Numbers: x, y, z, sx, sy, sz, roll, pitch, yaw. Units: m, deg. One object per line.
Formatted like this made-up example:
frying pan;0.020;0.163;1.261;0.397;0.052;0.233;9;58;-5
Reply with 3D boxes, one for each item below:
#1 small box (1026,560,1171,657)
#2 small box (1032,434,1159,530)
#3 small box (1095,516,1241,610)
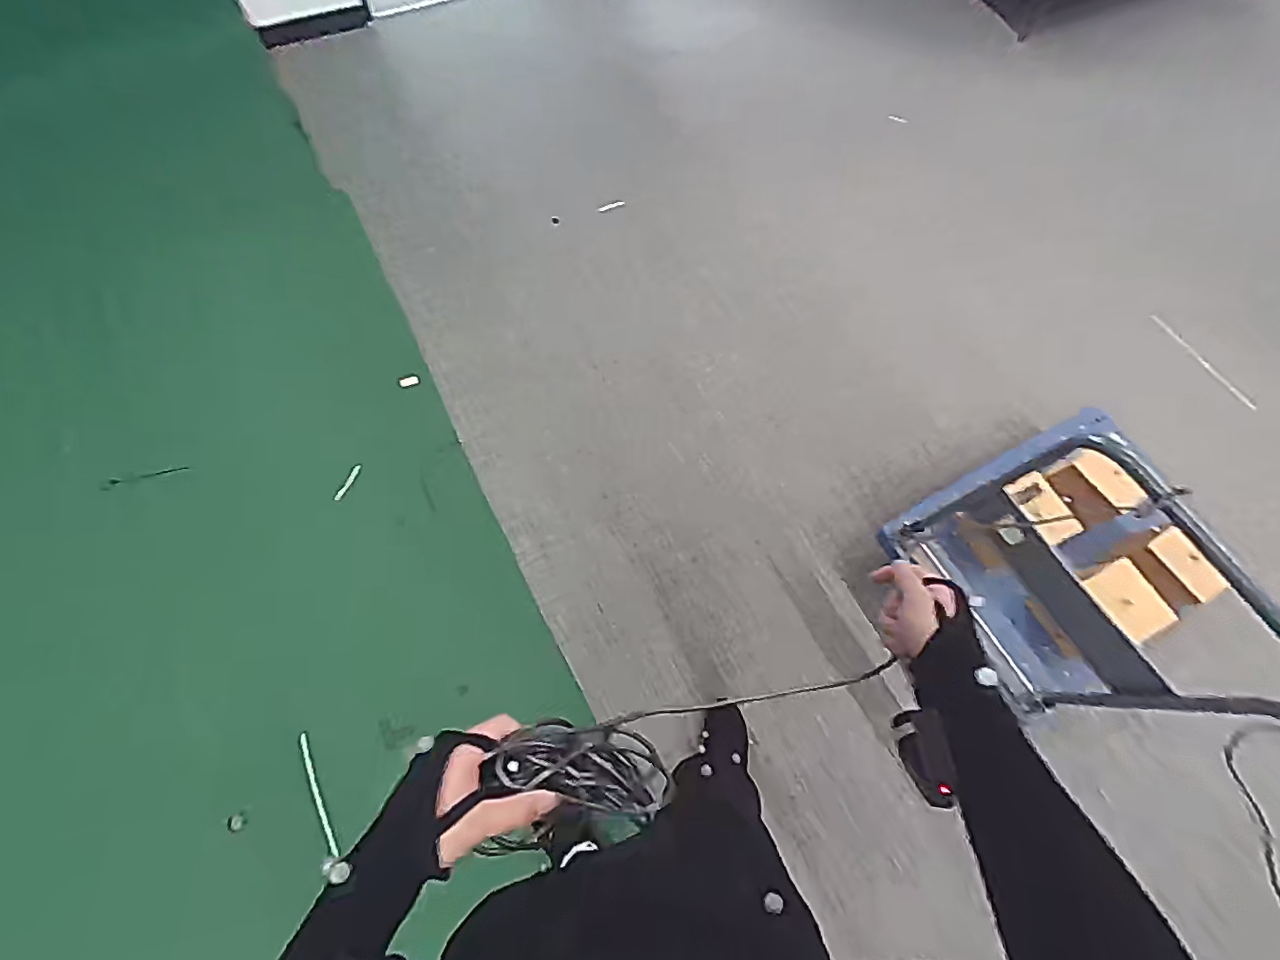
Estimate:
small box;1.114;0.321;1.331;0.179;0.176;0.168;-24;71;-12
small box;1.214;0.012;1.461;0.179;0.176;0.168;-30;73;-14
small box;1.336;0.221;1.385;0.179;0.176;0.168;-28;71;-13
